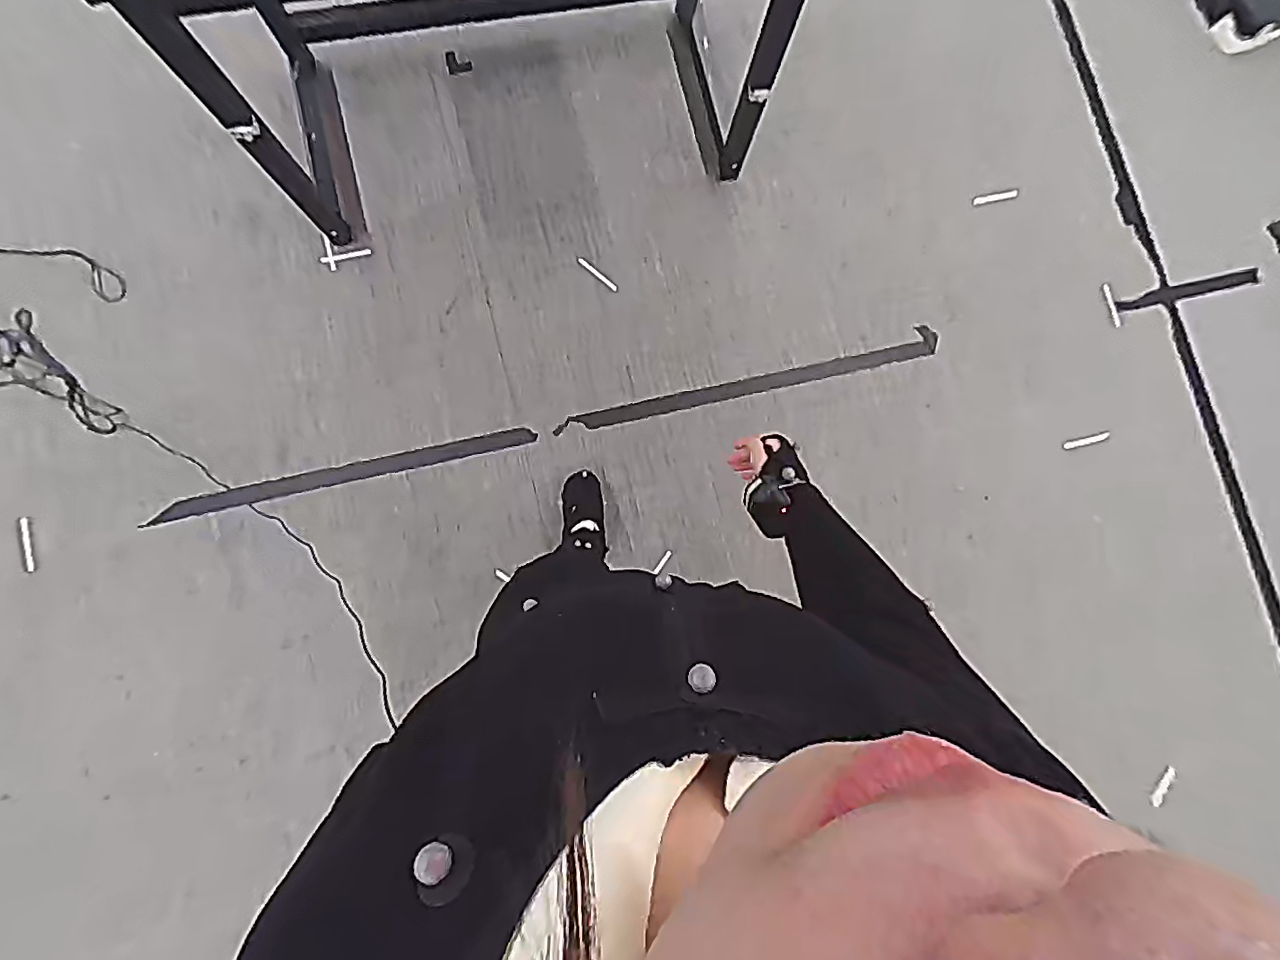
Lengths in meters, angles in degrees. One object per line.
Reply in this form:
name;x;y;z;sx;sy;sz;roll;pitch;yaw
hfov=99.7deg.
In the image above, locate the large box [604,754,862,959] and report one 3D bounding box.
large box;0.163;0.832;1.105;0.408;0.320;0.320;-16;87;-7
